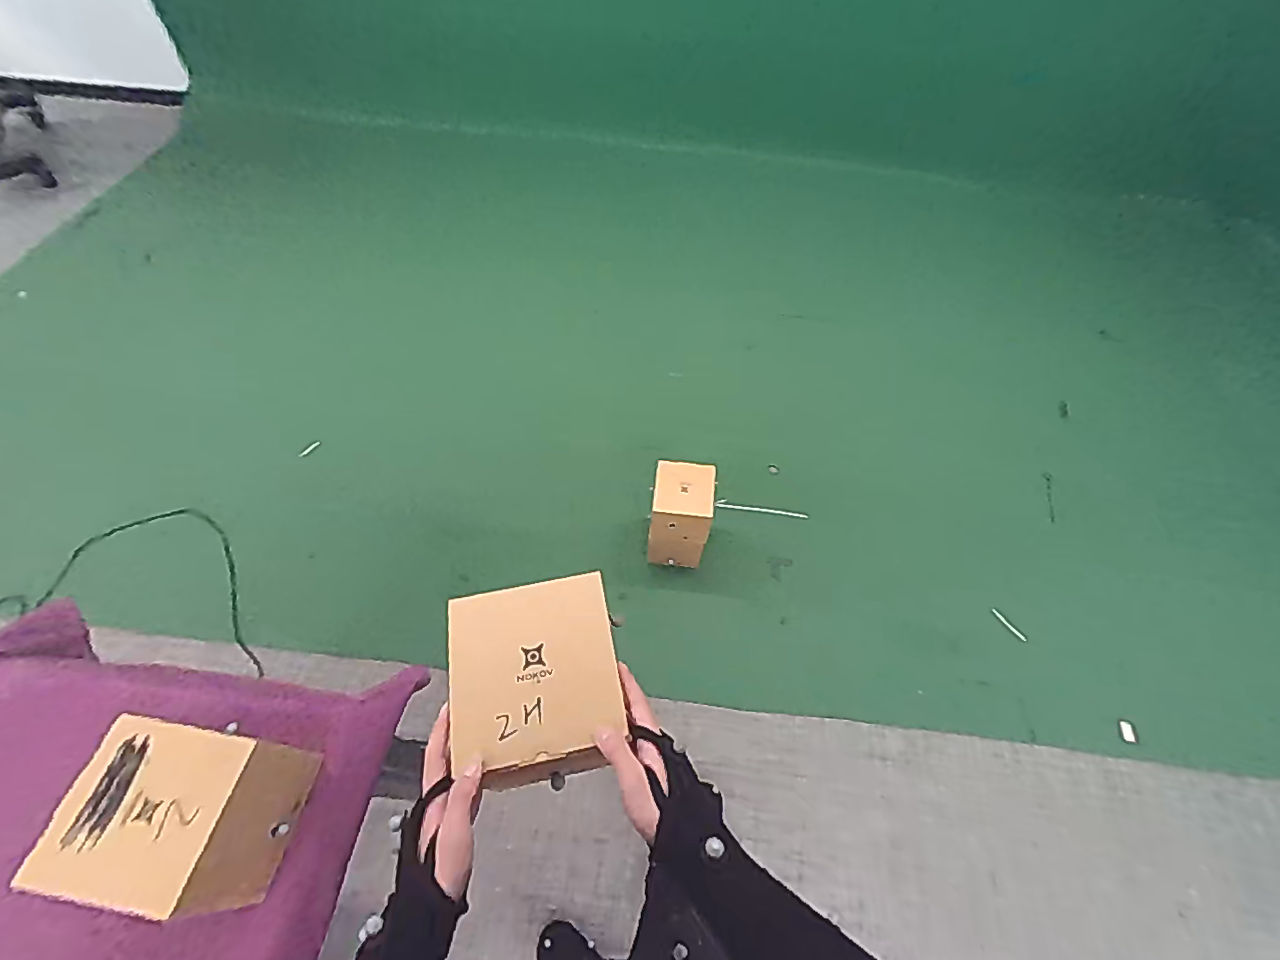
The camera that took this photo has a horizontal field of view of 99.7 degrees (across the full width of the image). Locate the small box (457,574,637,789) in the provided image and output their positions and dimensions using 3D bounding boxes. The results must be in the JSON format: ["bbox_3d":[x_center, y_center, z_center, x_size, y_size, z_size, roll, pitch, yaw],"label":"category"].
[{"bbox_3d":[-0.099,0.228,0.604,0.168,0.176,0.179,-9,58,-5],"label":"small box"}]

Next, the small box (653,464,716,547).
[{"bbox_3d":[0.127,0.078,1.573,0.168,0.176,0.179,6,55,3],"label":"small box"}]

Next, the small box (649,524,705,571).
[{"bbox_3d":[0.119,0.168,1.706,0.168,0.176,0.179,6,57,3],"label":"small box"}]
